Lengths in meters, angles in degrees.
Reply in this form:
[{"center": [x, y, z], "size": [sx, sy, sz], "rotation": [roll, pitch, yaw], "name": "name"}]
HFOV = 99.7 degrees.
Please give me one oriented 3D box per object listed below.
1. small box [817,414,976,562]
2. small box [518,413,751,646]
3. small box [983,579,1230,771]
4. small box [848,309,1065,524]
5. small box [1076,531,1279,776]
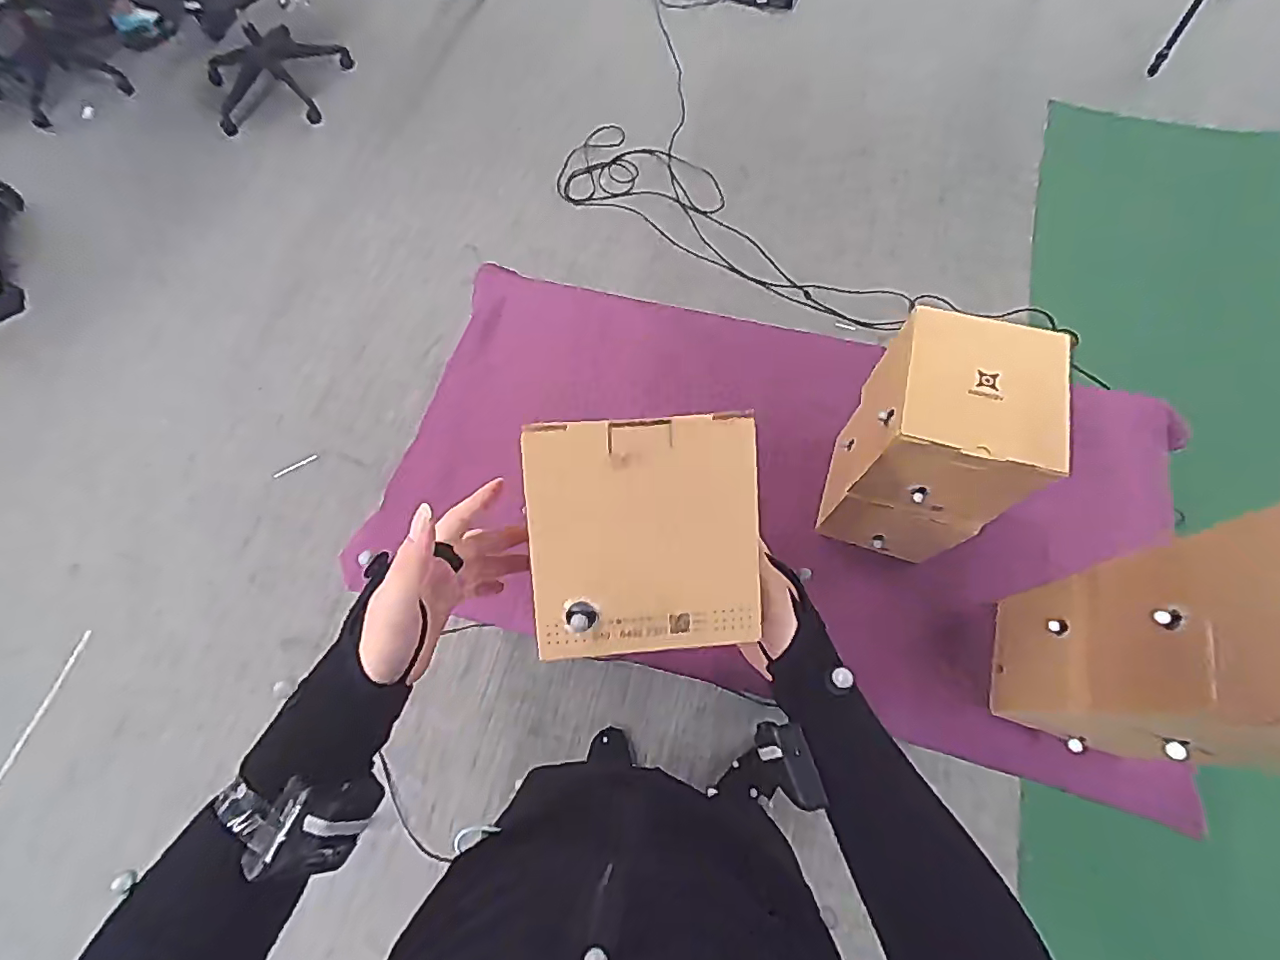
[{"center": [0.375, 0.000, 0.797], "size": [0.168, 0.176, 0.179], "rotation": [18, 69, 9], "name": "small box"}, {"center": [-0.003, 0.034, 0.470], "size": [0.168, 0.179, 0.176], "rotation": [-3, 99, -3], "name": "small box"}, {"center": [0.580, 0.245, 0.689], "size": [0.179, 0.176, 0.168], "rotation": [17, 68, 10], "name": "small box"}, {"center": [0.366, -0.068, 0.650], "size": [0.168, 0.176, 0.179], "rotation": [15, 70, 7], "name": "small box"}, {"center": [0.579, 0.178, 0.540], "size": [0.168, 0.176, 0.179], "rotation": [17, 69, 10], "name": "small box"}]
